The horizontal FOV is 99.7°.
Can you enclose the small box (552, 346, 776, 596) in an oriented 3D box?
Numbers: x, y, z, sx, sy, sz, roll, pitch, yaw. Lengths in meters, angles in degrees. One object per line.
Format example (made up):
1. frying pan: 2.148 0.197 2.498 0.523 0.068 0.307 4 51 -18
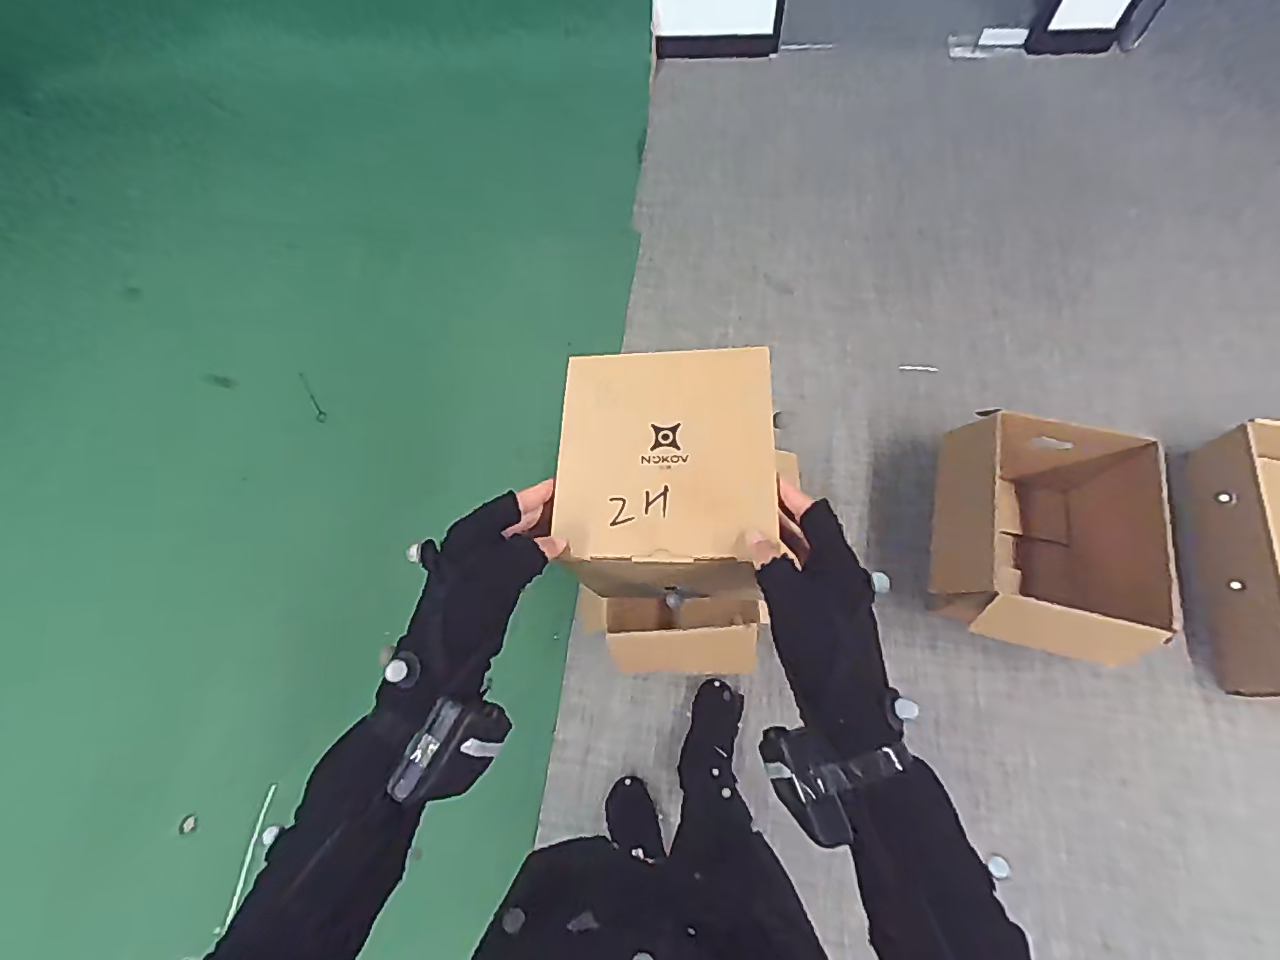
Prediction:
1. small box: 0.030 0.000 0.491 0.168 0.176 0.179 0 68 9
